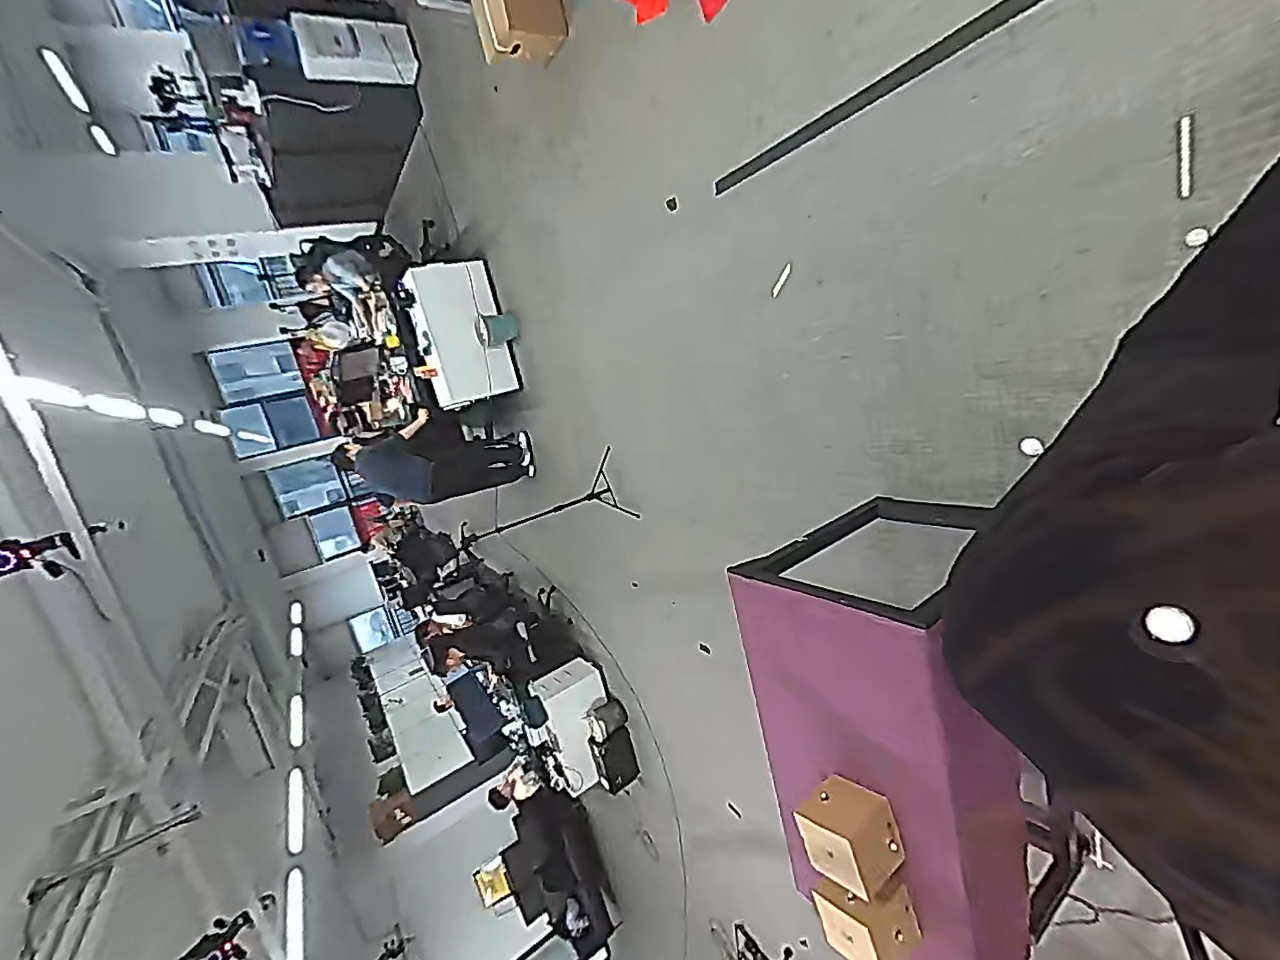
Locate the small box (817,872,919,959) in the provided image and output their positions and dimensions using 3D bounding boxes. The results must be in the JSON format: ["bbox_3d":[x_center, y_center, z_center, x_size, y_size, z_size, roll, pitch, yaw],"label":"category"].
[{"bbox_3d":[0.607,1.140,1.427,0.179,0.176,0.168,-10,99,60],"label":"small box"}]

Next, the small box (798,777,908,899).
[{"bbox_3d":[0.544,0.899,1.383,0.179,0.176,0.168,-12,98,60],"label":"small box"}]
